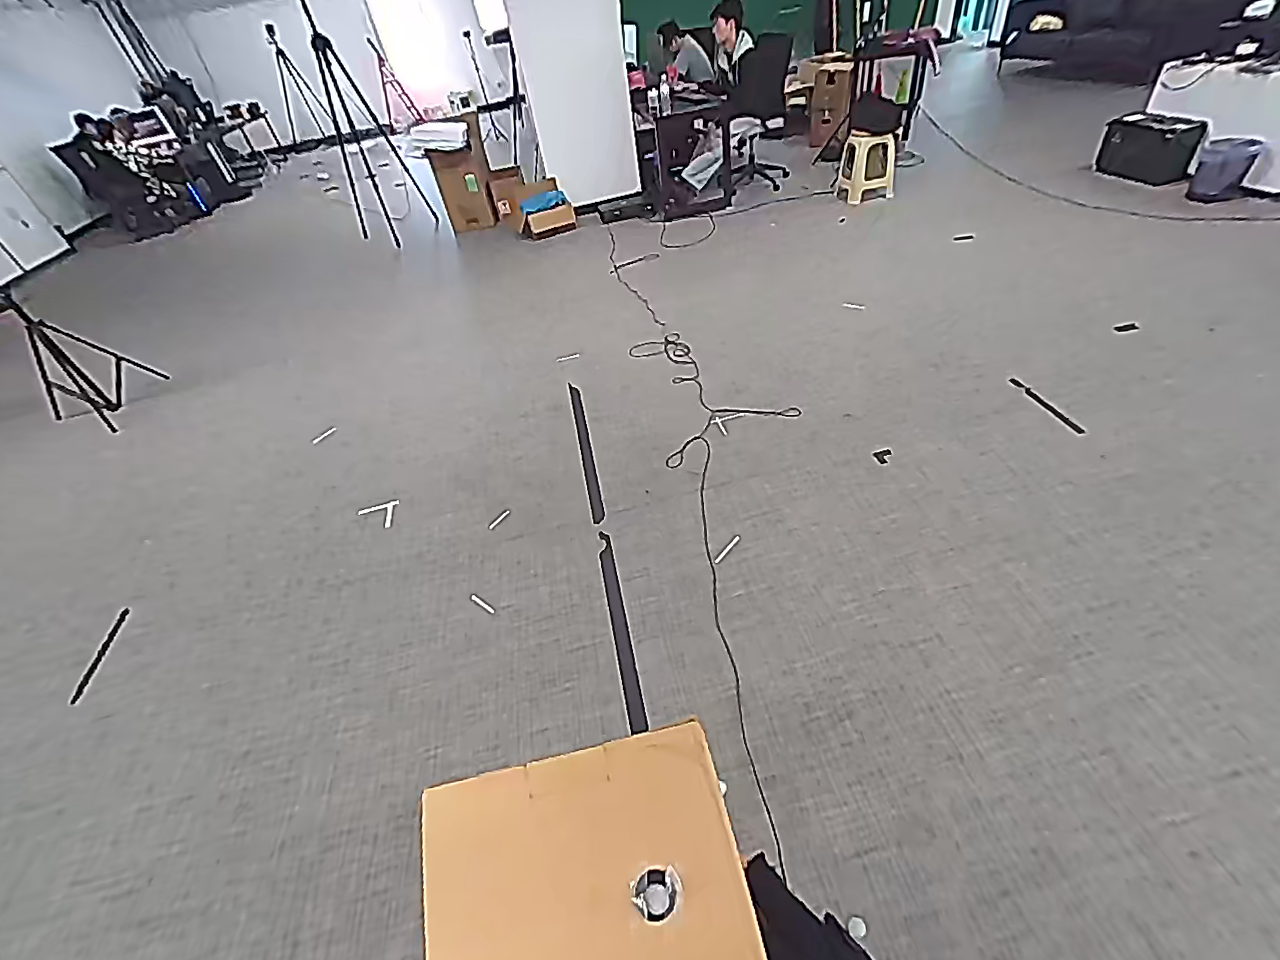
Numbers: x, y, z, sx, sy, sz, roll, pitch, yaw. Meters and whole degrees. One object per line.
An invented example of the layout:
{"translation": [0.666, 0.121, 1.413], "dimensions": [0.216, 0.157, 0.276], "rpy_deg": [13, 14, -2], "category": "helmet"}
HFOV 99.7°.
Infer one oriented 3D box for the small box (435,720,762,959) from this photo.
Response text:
{"translation": [-0.021, 0.277, 0.360], "dimensions": [0.168, 0.179, 0.176], "rpy_deg": [-12, 61, -5], "category": "small box"}
